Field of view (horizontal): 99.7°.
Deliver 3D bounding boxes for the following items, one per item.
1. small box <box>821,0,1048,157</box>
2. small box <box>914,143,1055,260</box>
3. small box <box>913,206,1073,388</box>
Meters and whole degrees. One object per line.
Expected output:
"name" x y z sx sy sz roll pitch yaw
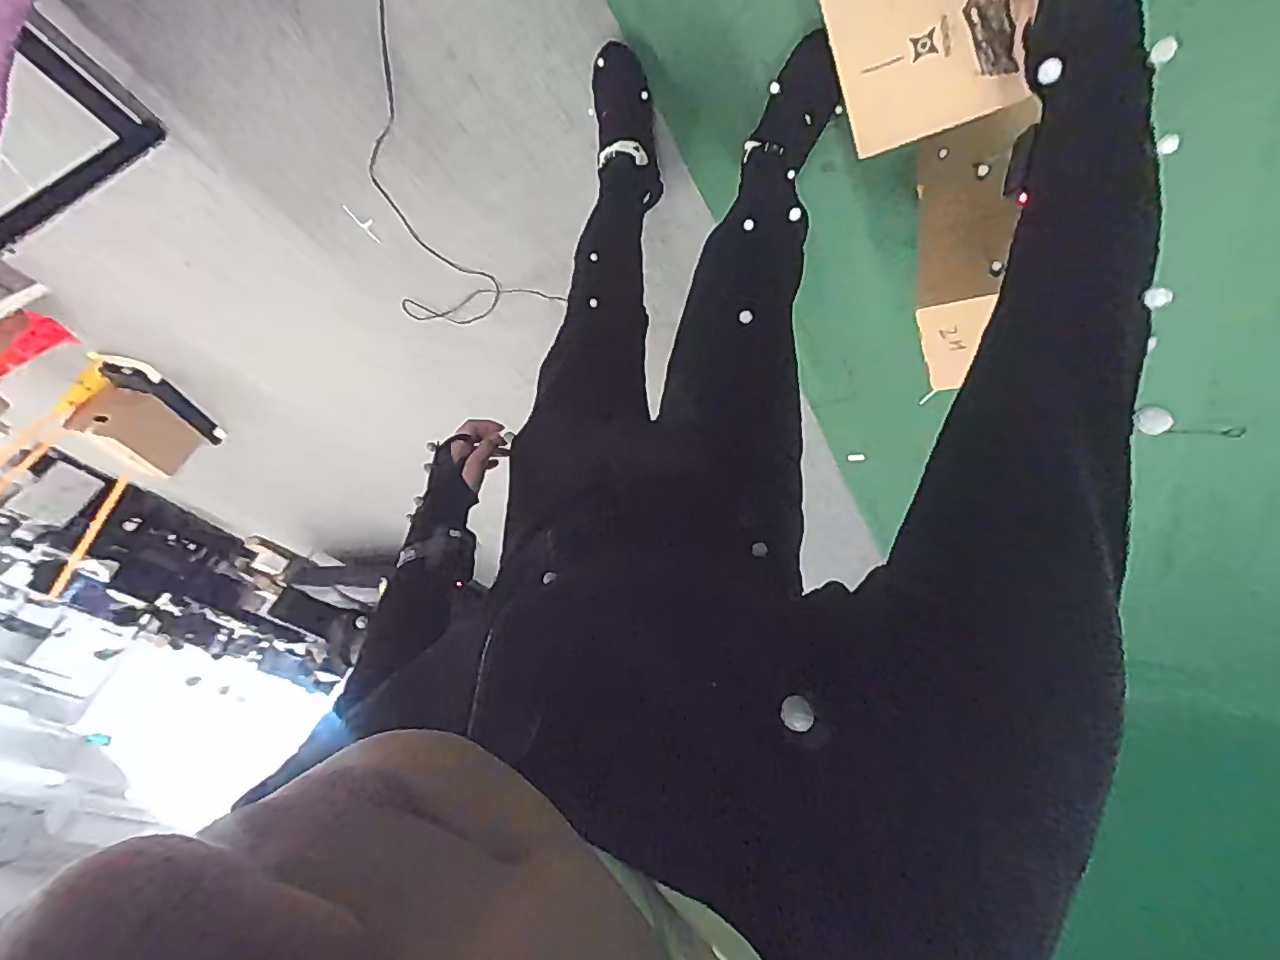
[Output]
"small box" 0.300 -0.483 0.553 0.179 0.176 0.168 -4 142 34
"small box" 0.557 -0.395 0.871 0.179 0.176 0.168 -3 144 37
"small box" 0.508 -0.261 0.787 0.179 0.176 0.168 -3 143 35
